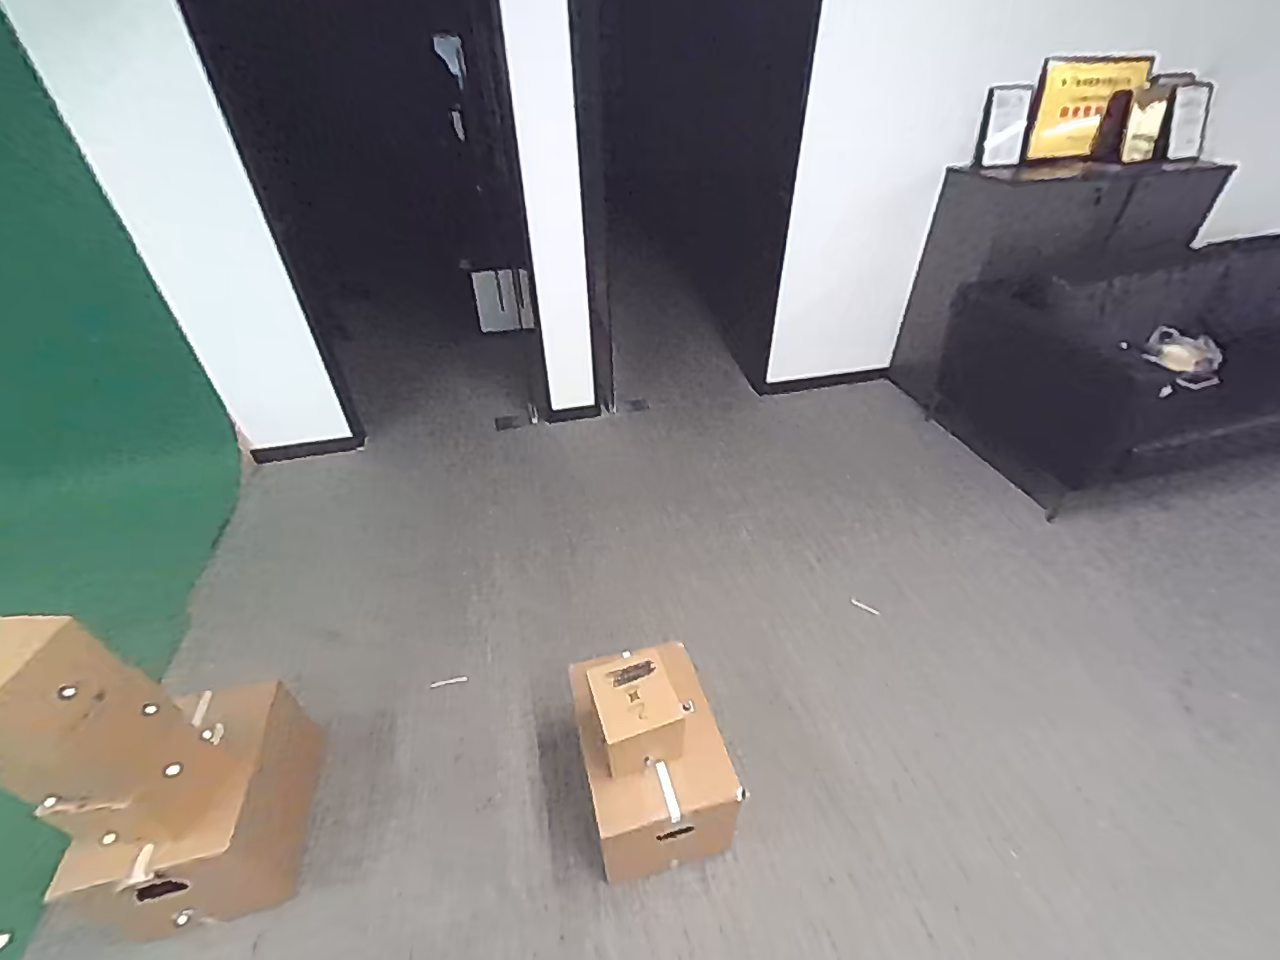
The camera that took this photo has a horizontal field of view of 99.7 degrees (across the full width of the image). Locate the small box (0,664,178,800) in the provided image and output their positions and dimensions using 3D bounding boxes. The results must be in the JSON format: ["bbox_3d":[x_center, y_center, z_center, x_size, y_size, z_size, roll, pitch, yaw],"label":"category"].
[{"bbox_3d":[-1.009,0.461,0.992,0.168,0.176,0.179,-2,40,1],"label":"small box"}]

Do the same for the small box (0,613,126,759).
[{"bbox_3d":[-1.021,0.337,0.884,0.179,0.176,0.168,-1,39,1],"label":"small box"}]

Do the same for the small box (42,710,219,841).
[{"bbox_3d":[-1.000,0.593,1.087,0.168,0.176,0.179,-4,39,-3],"label":"small box"}]

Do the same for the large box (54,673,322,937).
[{"bbox_3d":[-1.003,0.750,1.279,0.320,0.320,0.408,-10,39,-11],"label":"large box"}]
